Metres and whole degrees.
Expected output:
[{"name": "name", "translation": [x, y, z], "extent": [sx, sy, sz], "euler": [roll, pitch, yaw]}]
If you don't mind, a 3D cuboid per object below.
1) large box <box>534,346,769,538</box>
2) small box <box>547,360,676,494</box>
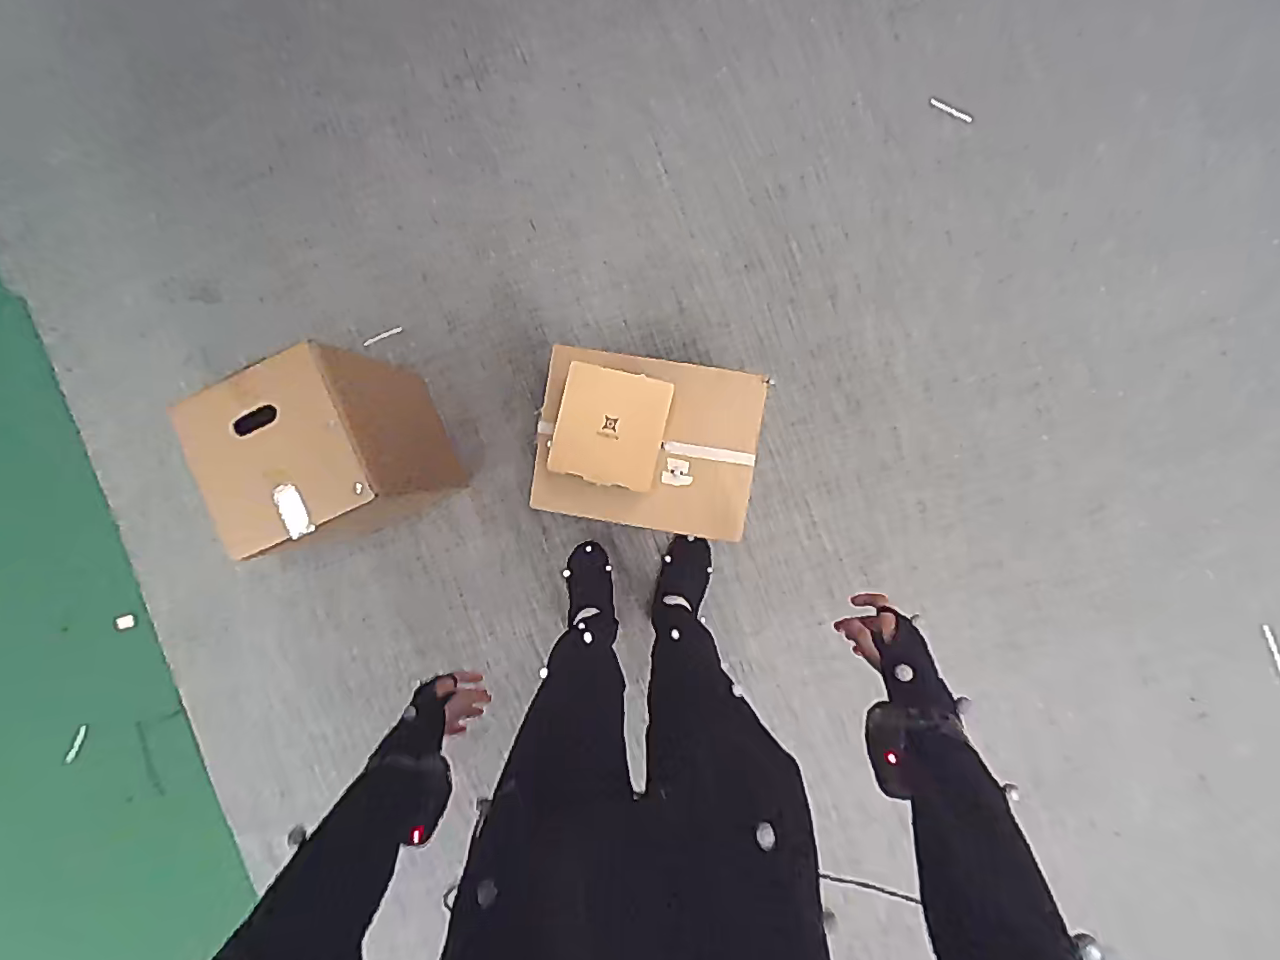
[{"name": "large box", "translation": [0.025, -0.073, 1.136], "extent": [0.408, 0.320, 0.320], "euler": [9, 93, 4]}, {"name": "small box", "translation": [-0.039, -0.082, 0.898], "extent": [0.168, 0.176, 0.179], "euler": [13, 92, 5]}]
